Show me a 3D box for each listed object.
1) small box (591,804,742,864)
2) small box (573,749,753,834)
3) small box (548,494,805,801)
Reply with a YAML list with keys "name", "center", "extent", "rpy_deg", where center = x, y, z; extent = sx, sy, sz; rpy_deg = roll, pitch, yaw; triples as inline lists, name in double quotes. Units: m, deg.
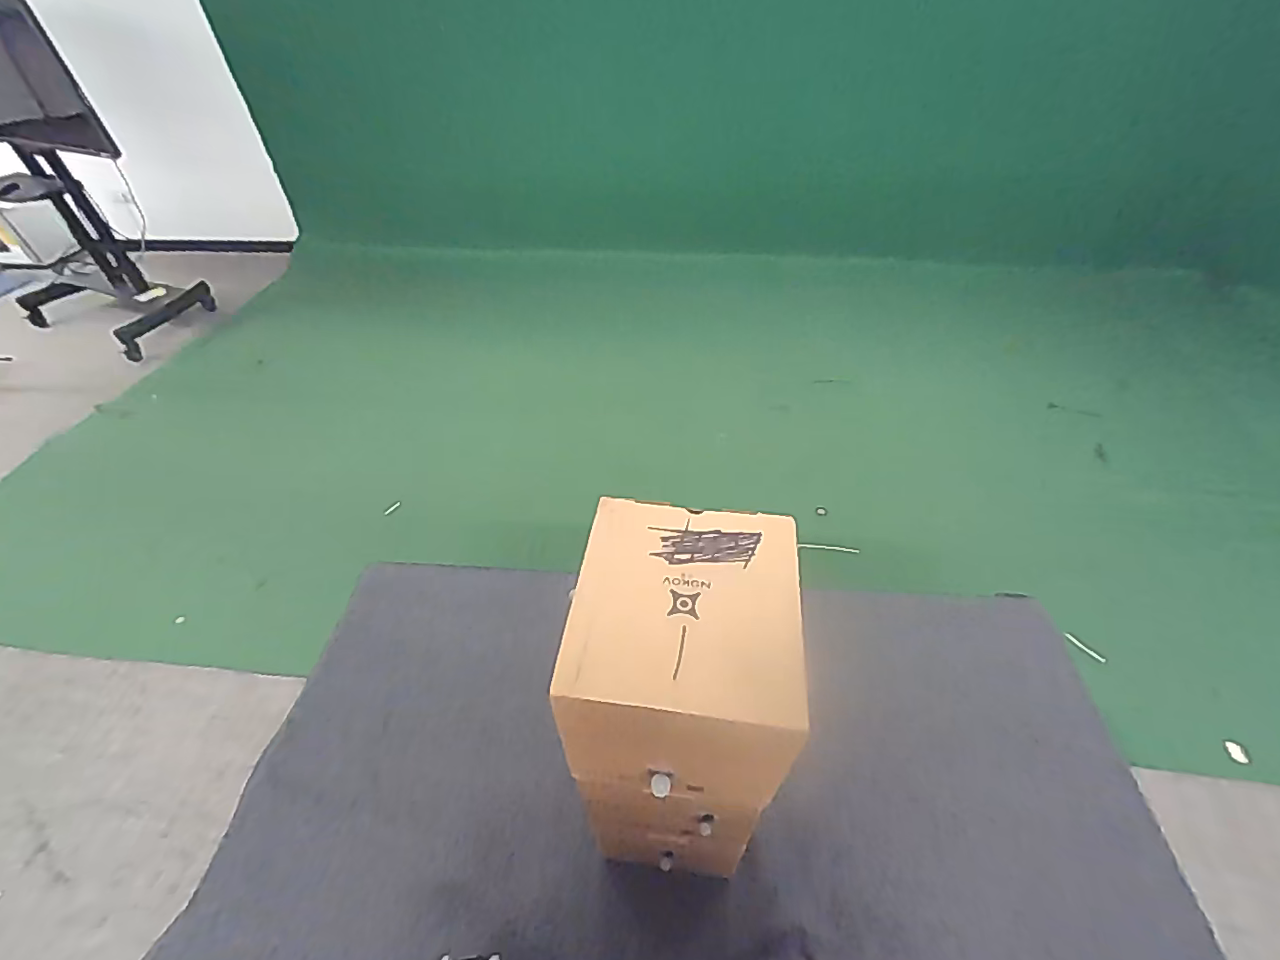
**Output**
- name: "small box"
  center: [0.043, 0.363, 0.686]
  extent: [0.168, 0.176, 0.179]
  rpy_deg: [5, 46, 7]
- name: "small box"
  center: [0.035, 0.249, 0.570]
  extent: [0.168, 0.176, 0.179]
  rpy_deg: [4, 45, 5]
- name: "small box"
  center: [0.034, 0.138, 0.450]
  extent: [0.168, 0.176, 0.179]
  rpy_deg: [6, 47, 7]
